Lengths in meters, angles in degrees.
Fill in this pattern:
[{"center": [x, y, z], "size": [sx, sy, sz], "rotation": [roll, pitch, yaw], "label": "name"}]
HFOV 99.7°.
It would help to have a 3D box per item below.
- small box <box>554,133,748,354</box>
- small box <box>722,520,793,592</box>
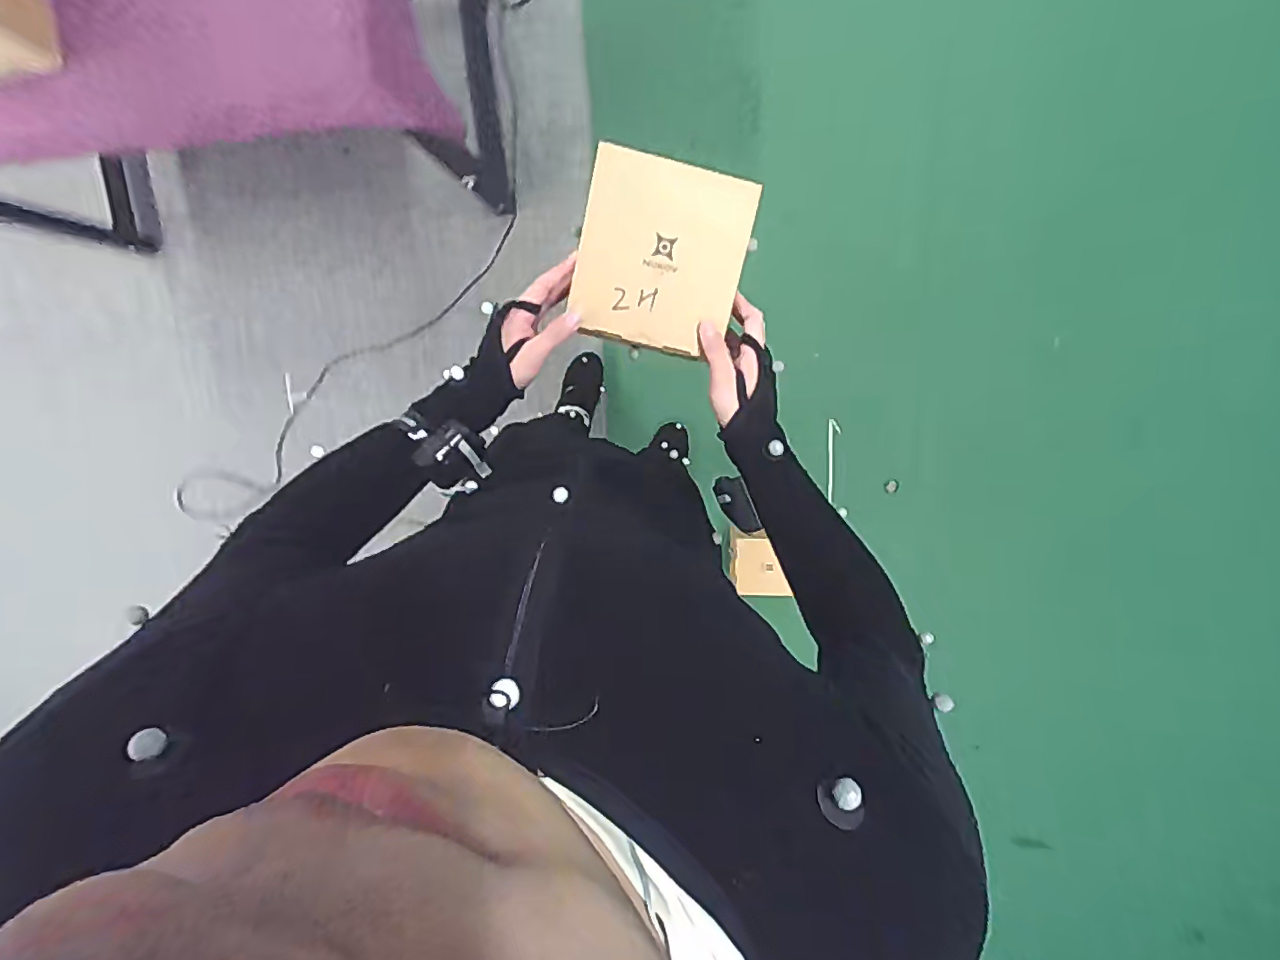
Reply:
[{"center": [0.005, -0.248, 0.615], "size": [0.168, 0.176, 0.179], "rotation": [12, 102, -6], "label": "small box"}, {"center": [0.335, 0.215, 1.566], "size": [0.179, 0.176, 0.168], "rotation": [0, 101, 5], "label": "small box"}]
